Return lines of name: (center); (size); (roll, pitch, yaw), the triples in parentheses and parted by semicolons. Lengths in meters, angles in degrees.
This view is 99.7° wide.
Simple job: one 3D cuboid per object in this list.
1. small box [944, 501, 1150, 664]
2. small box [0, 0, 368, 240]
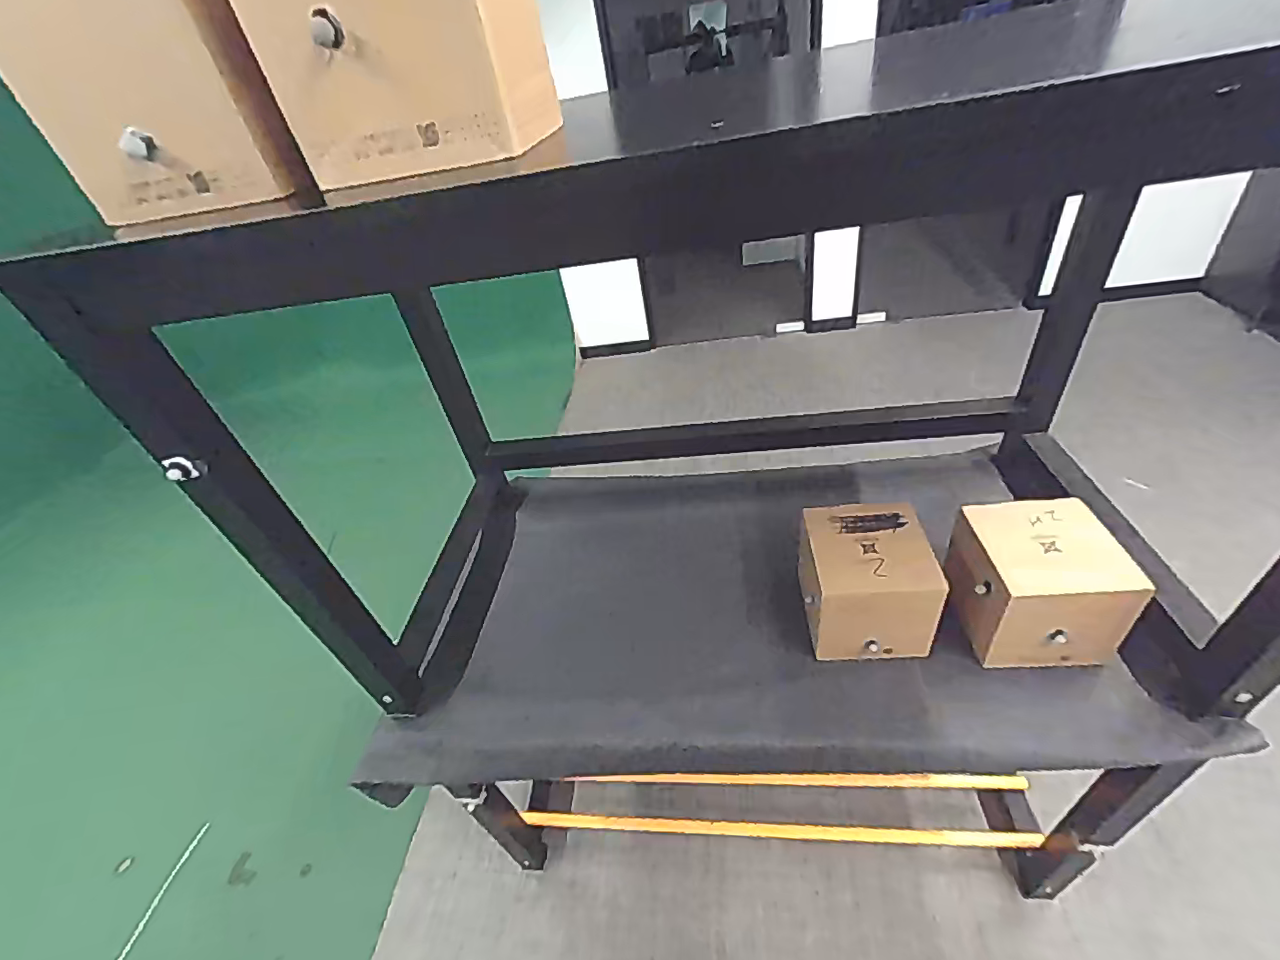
small box: (0.574, 0.156, 0.794); (0.168, 0.176, 0.179); (-5, 38, 9)
small box: (-0.369, -0.323, 0.465); (0.168, 0.176, 0.179); (-5, 40, 9)
